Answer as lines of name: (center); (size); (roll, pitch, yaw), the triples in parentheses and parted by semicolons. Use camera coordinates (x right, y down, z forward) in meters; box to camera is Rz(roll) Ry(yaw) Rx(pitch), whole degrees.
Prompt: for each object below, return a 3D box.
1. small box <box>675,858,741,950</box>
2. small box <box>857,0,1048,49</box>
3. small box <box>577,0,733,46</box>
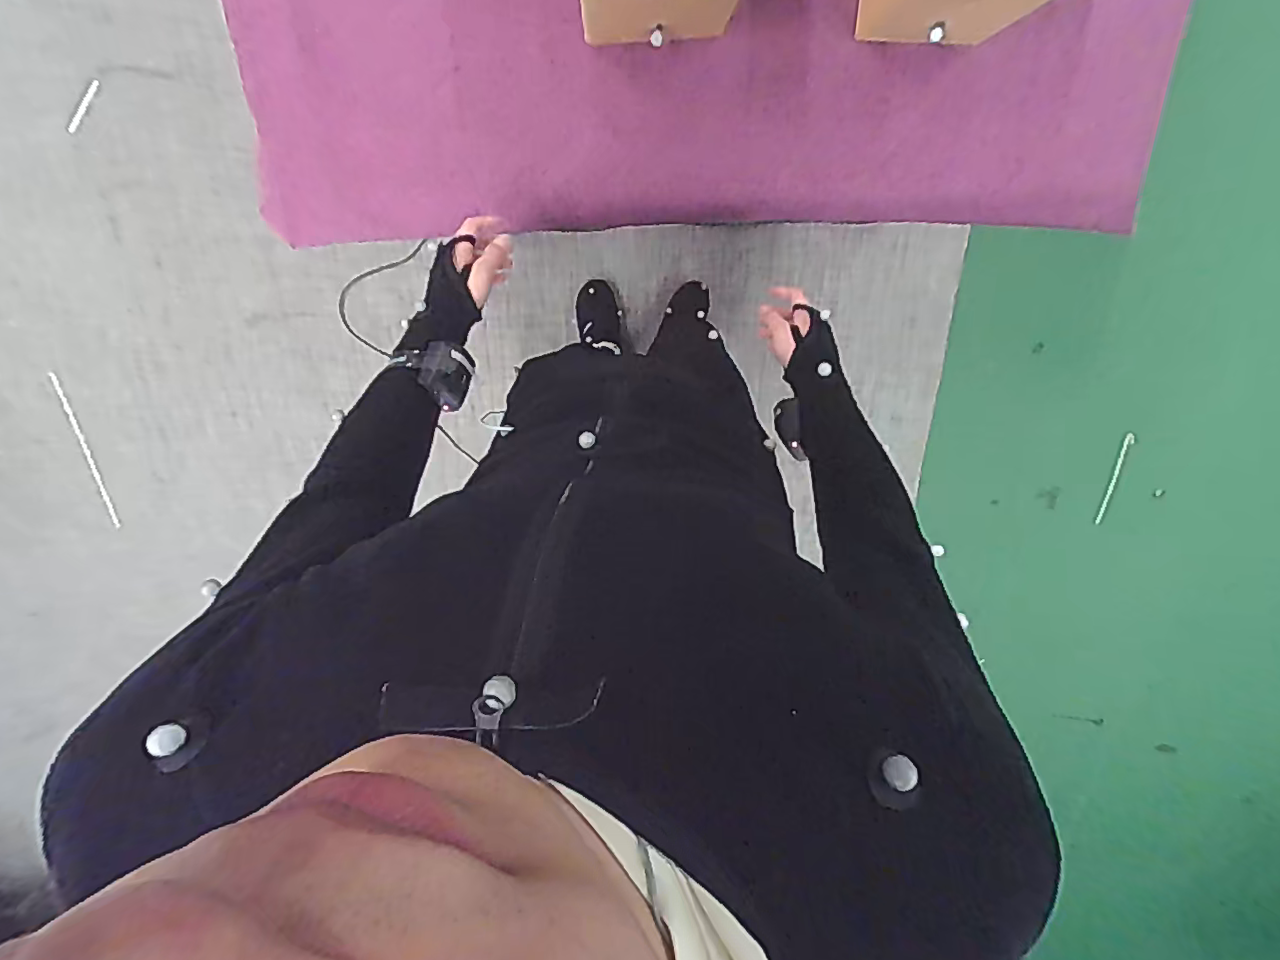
small box: (0.206, 1.310, 1.678); (0.179, 0.176, 0.168); (0, 111, -1)
small box: (0.359, -0.614, 0.592); (0.168, 0.176, 0.179); (1, 112, -3)
small box: (0.014, -0.600, 0.581); (0.179, 0.176, 0.168); (-5, 112, -1)
